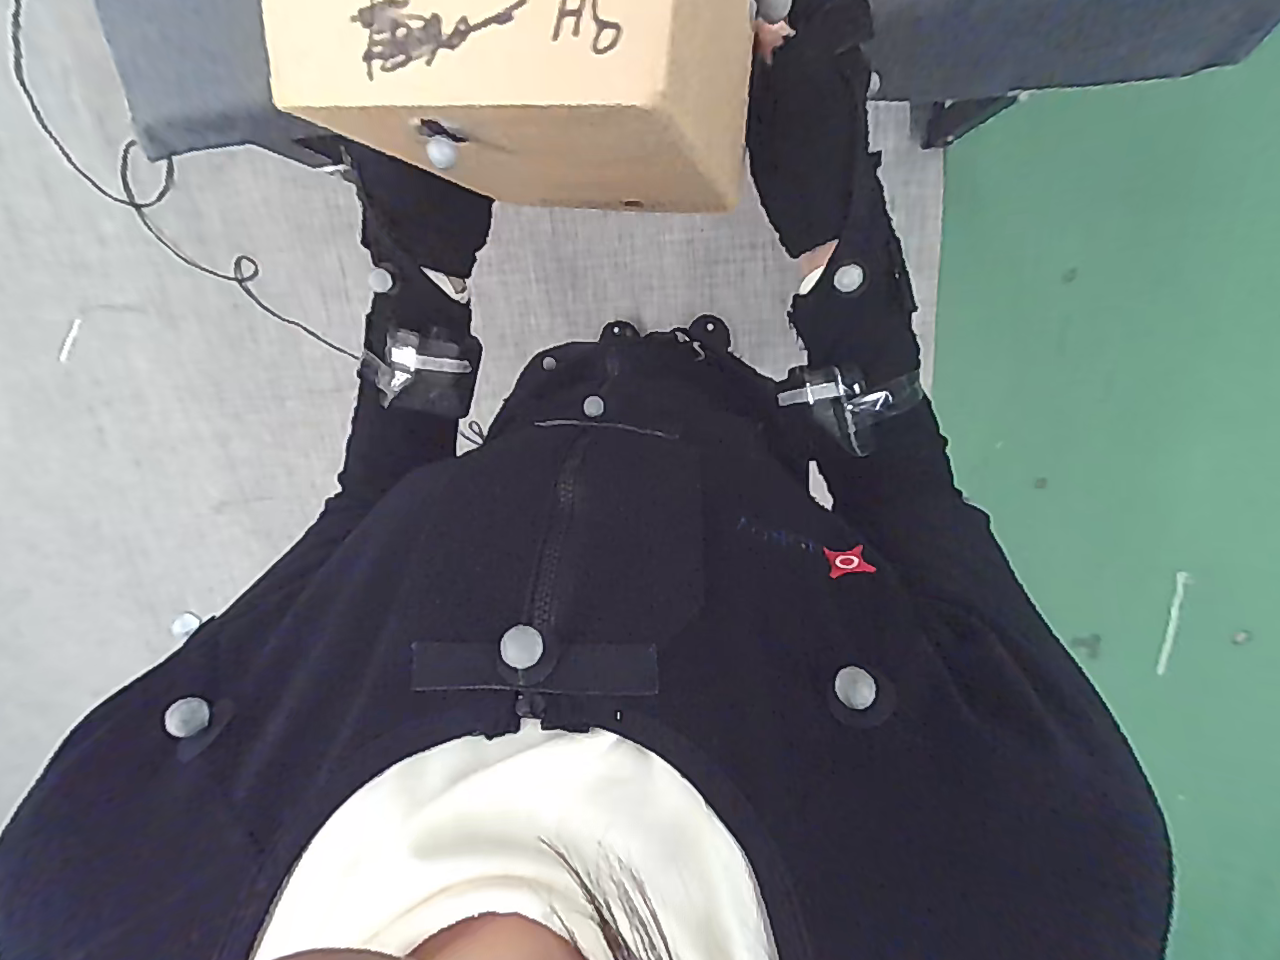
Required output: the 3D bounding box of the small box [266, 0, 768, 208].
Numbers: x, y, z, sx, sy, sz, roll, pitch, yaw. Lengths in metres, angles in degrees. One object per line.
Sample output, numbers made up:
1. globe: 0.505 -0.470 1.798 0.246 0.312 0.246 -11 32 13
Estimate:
1. small box: -0.035 -0.246 0.250 0.168 0.176 0.179 12 107 16
